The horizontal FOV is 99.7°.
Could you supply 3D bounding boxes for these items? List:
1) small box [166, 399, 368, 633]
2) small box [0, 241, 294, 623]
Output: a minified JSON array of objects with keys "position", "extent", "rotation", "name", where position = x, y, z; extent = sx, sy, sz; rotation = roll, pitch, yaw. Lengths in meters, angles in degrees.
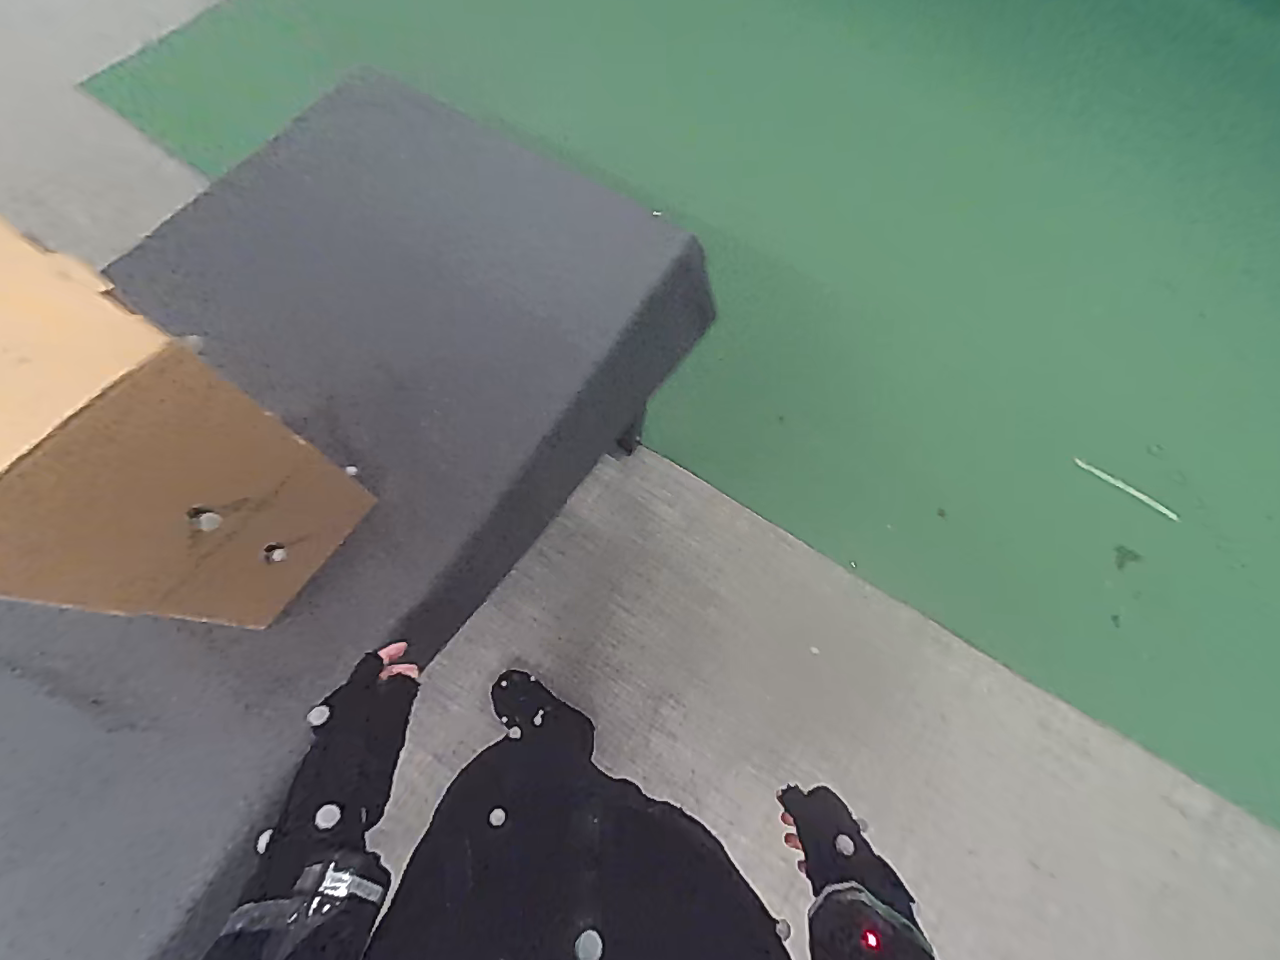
[{"position":[-0.407,0.032,0.542],"extent":[0.168,0.176,0.179],"rotation":[28,69,6],"name":"small box"},{"position":[-0.393,-0.021,0.388],"extent":[0.168,0.176,0.179],"rotation":[32,70,9],"name":"small box"}]
